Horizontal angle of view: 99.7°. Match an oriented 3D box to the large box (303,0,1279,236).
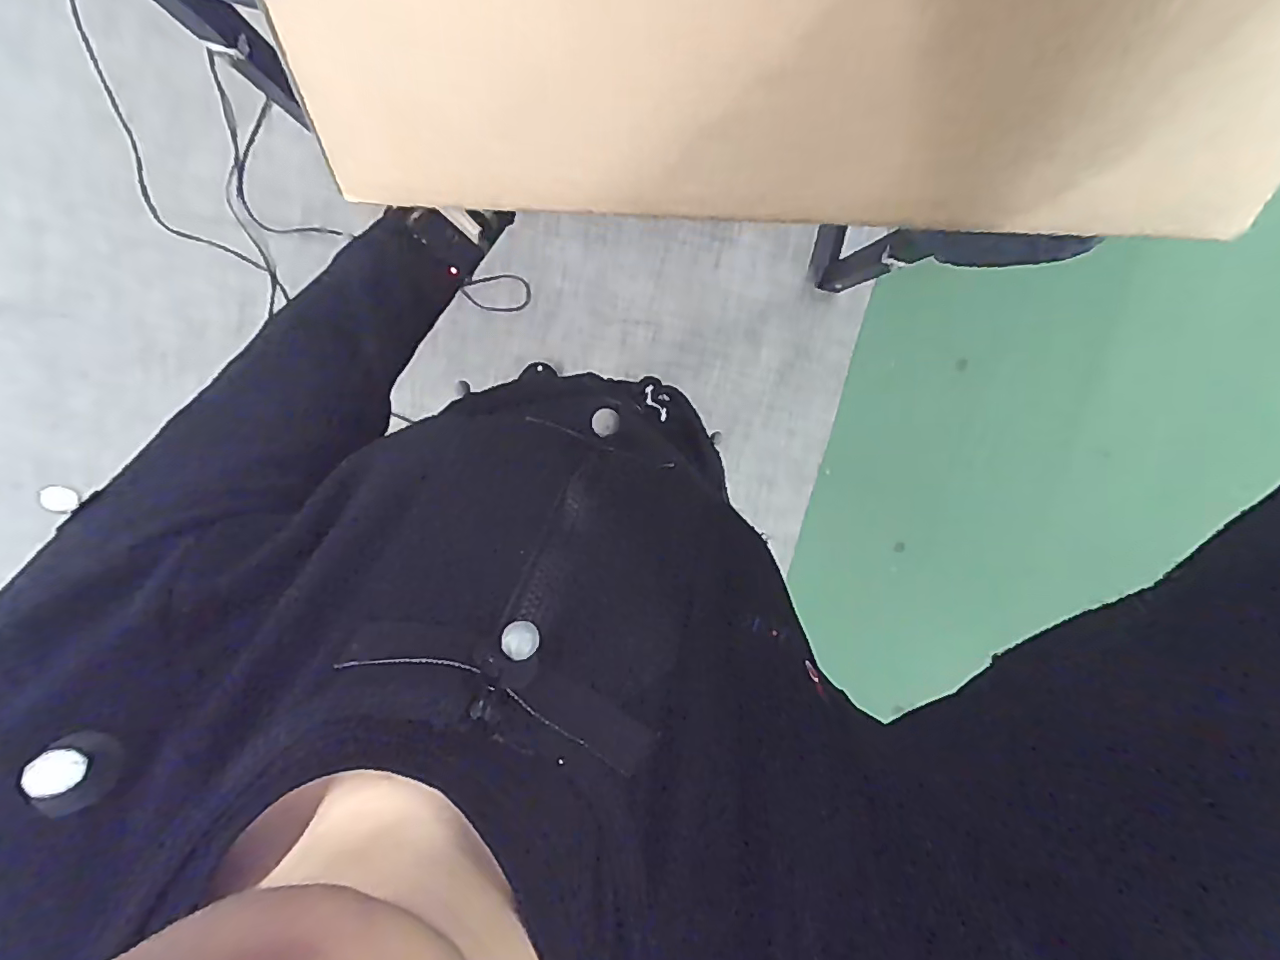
[{"bbox_3d":[0.071,-0.333,0.259,0.408,0.320,0.320,6,135,11],"label":"large box"}]
